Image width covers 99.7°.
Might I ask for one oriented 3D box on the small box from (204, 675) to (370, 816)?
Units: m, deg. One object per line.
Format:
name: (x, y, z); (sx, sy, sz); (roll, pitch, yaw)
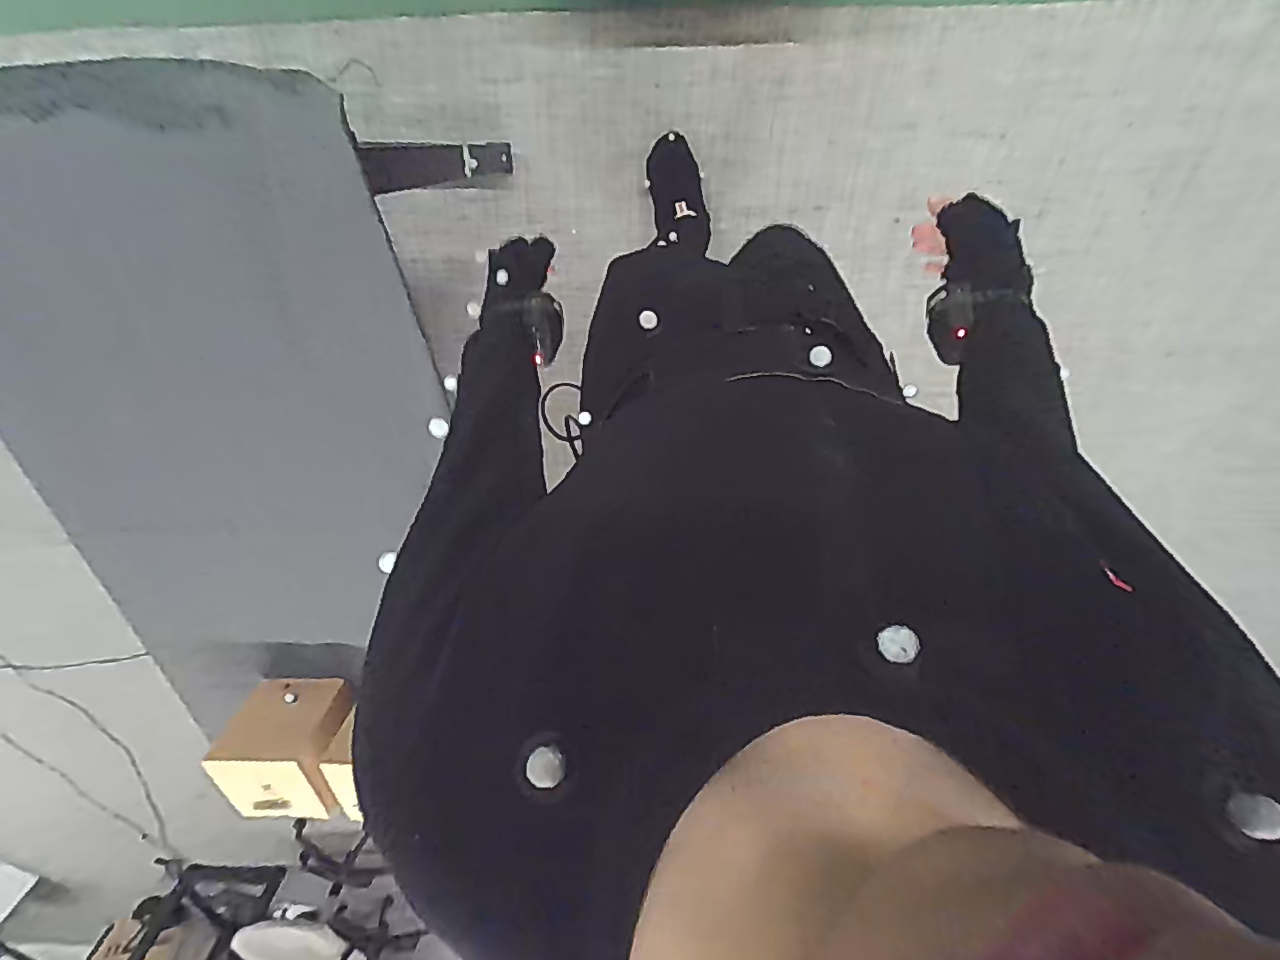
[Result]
small box: (-0.632, 0.487, 0.998); (0.168, 0.176, 0.179); (-1, 121, 3)
